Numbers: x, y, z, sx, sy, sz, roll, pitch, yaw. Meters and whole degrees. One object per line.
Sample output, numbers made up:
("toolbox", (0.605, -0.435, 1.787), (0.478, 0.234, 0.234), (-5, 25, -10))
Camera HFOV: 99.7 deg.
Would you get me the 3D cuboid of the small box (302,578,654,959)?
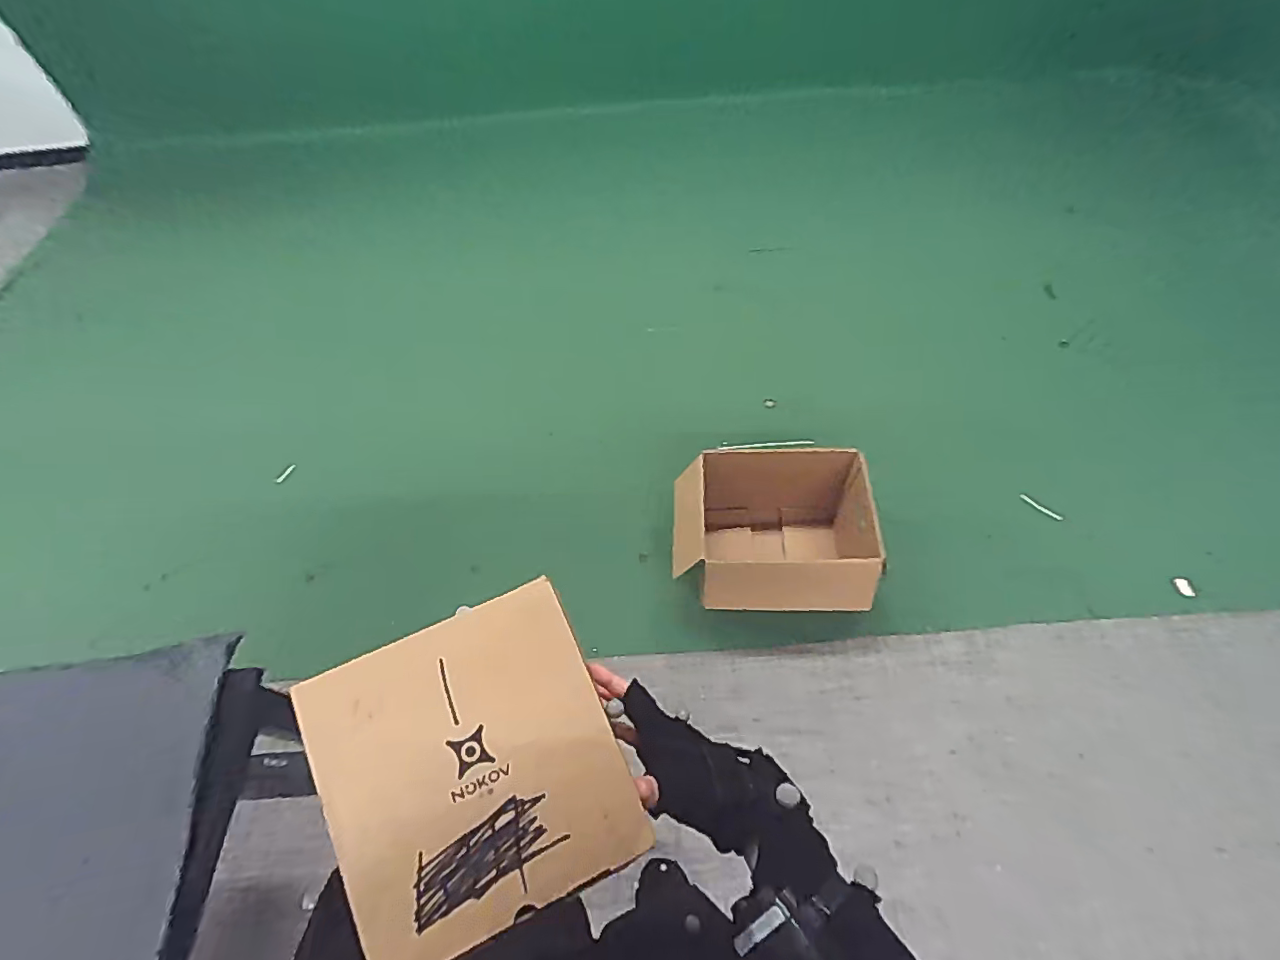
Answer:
("small box", (-0.104, 0.189, 0.397), (0.168, 0.176, 0.179), (-21, 76, -13))
